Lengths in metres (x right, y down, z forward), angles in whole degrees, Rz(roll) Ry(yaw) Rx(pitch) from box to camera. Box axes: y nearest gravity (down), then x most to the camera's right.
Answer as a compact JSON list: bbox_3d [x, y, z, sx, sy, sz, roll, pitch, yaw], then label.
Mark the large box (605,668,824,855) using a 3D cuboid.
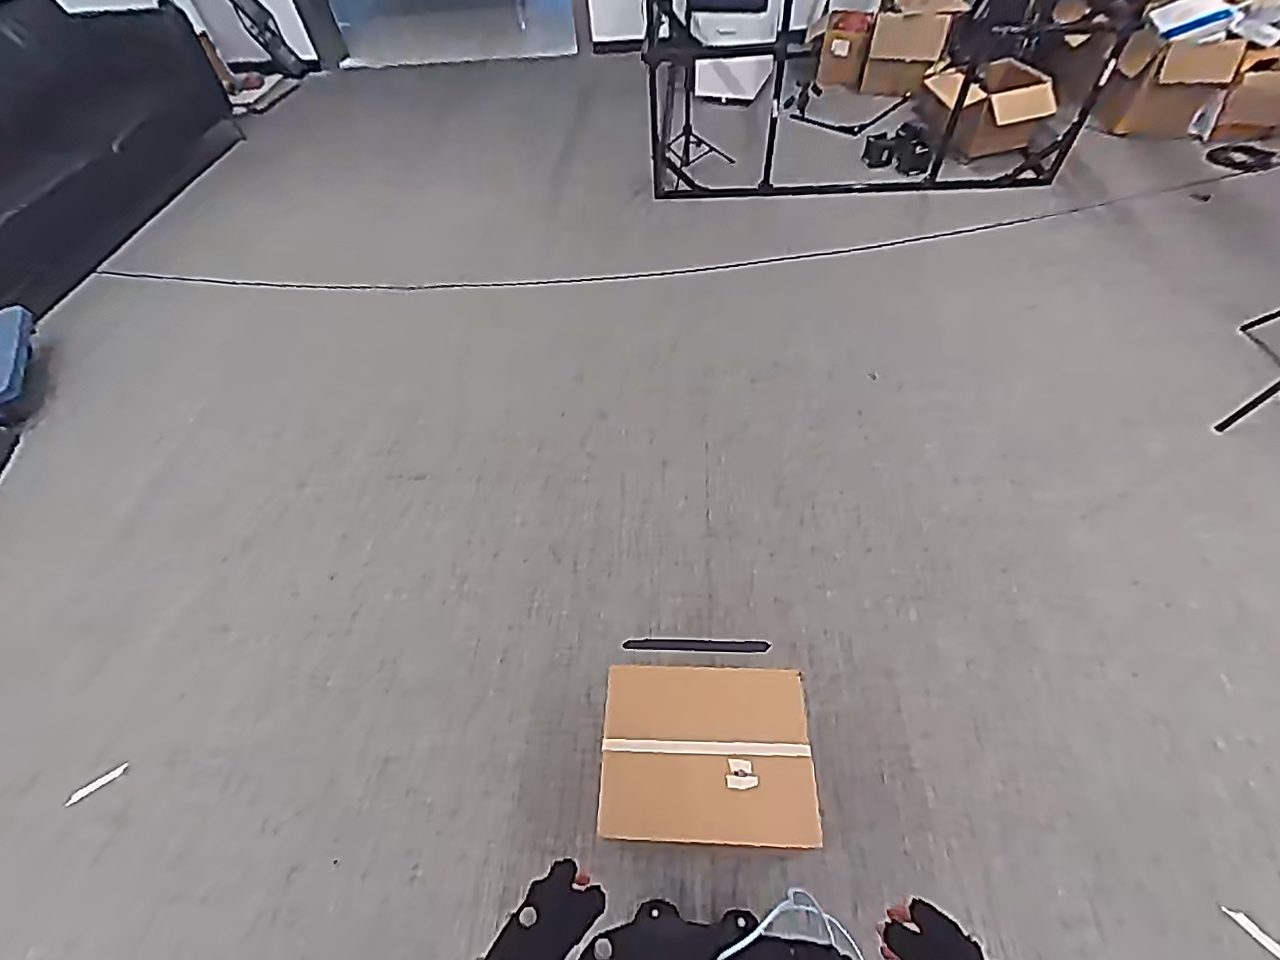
[{"bbox_3d":[0.145,0.618,1.180,0.408,0.320,0.320,0,54,4],"label":"large box"}]
